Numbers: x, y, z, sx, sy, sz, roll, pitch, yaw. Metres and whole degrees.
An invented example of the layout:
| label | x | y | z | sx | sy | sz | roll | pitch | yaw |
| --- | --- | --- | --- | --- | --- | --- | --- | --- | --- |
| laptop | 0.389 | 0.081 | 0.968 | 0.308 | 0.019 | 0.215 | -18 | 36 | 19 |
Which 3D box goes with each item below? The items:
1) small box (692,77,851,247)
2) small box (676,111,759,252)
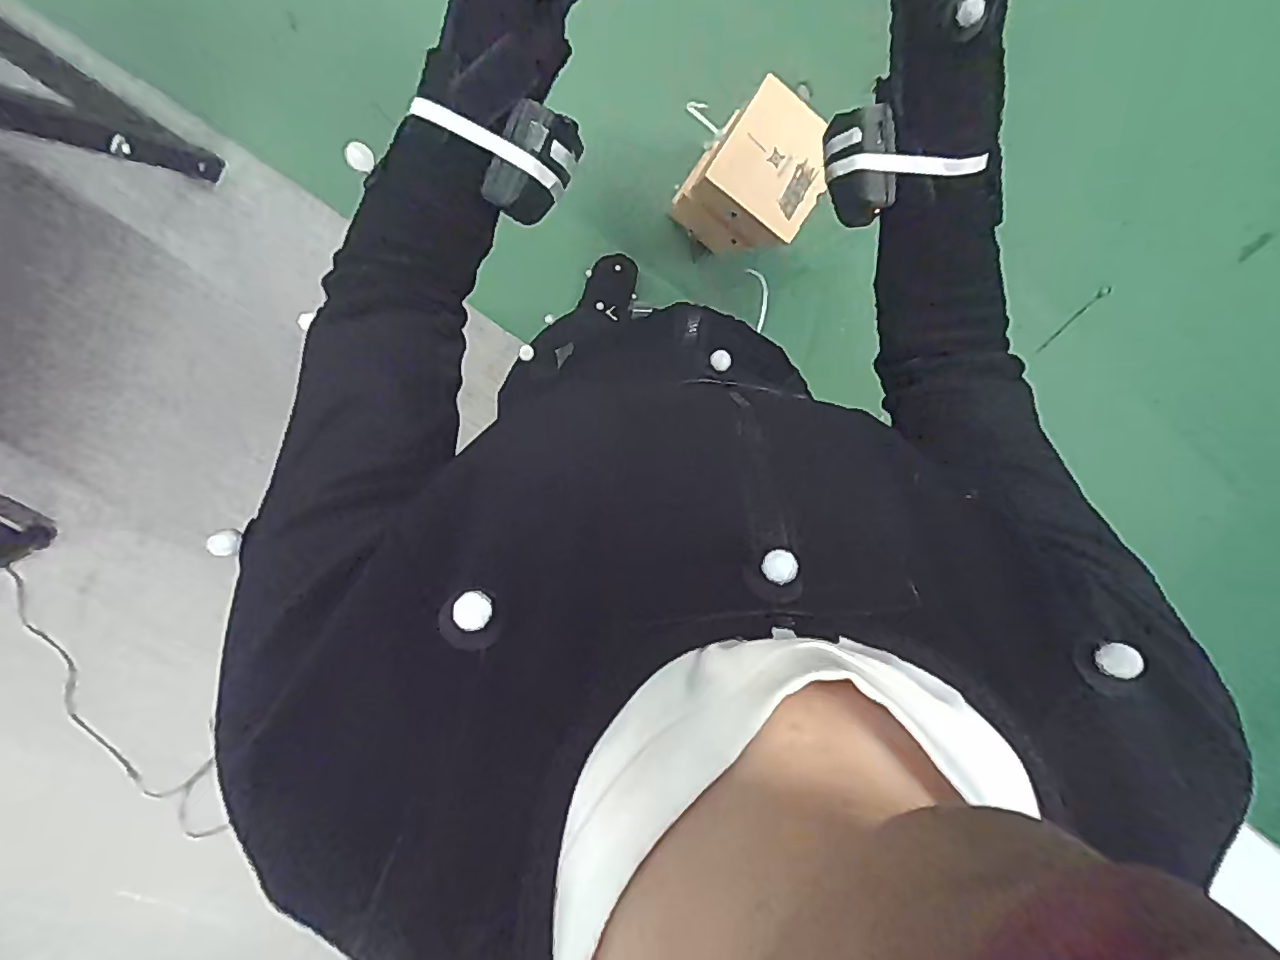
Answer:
| label | x | y | z | sx | sy | sz | roll | pitch | yaw |
| --- | --- | --- | --- | --- | --- | --- | --- | --- | --- |
| small box | 0.208 | -0.515 | 0.909 | 0.179 | 0.176 | 0.168 | 32 | 105 | -13 |
| small box | 0.189 | -0.569 | 1.063 | 0.179 | 0.176 | 0.168 | 33 | 105 | -15 |
